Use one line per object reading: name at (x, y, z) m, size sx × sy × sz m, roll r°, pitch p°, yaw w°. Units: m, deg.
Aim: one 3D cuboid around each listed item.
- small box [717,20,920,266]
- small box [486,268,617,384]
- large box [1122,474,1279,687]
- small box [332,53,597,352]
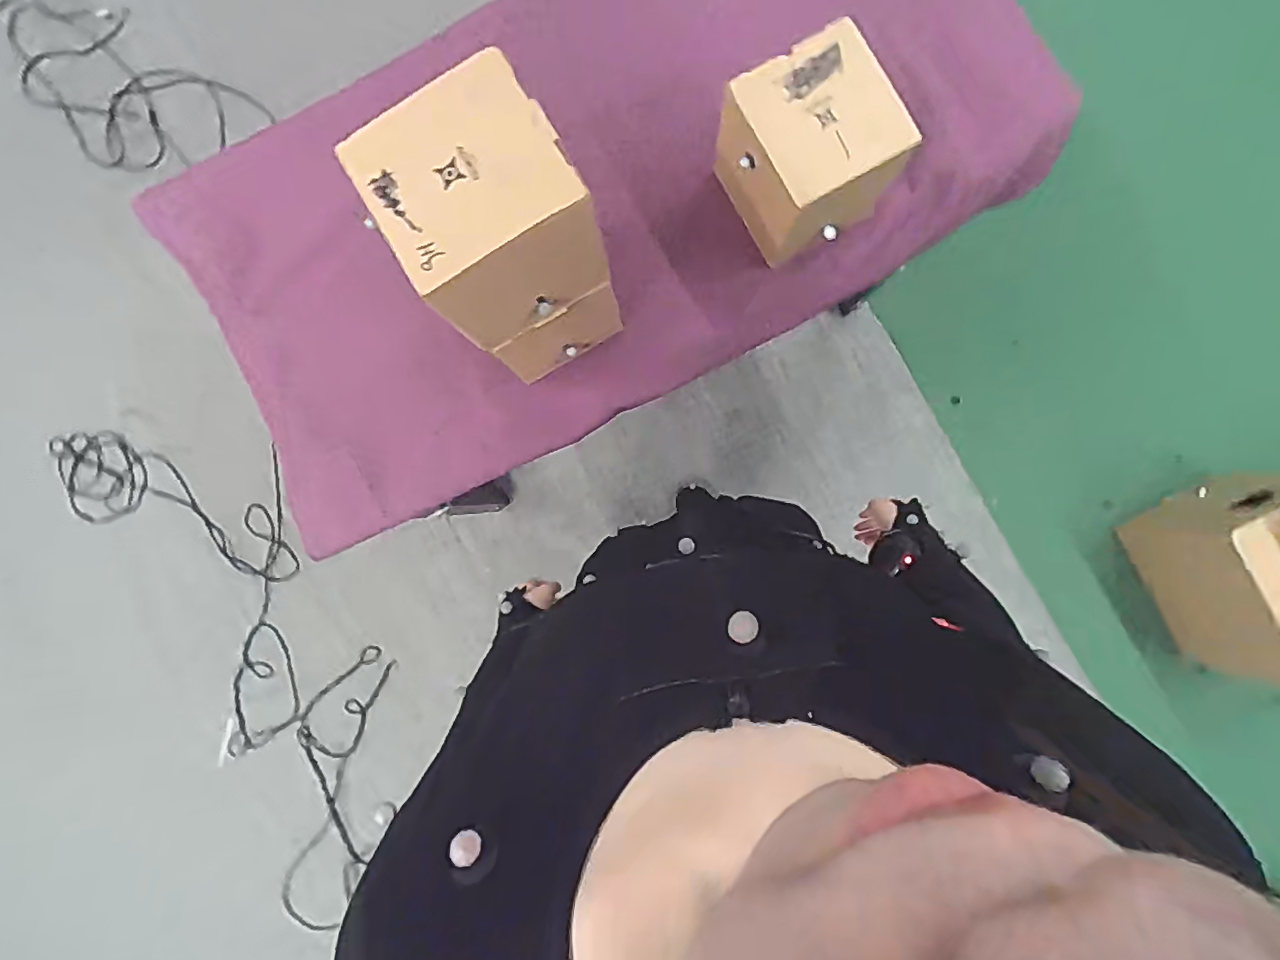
small box at (0.213, -0.419, 0.703) m, size 0.168 × 0.176 × 0.179 m, roll -29°, pitch 86°, yaw 2°
small box at (-0.145, -0.253, 0.713) m, size 0.168 × 0.176 × 0.179 m, roll -31°, pitch 85°, yaw 2°
large box at (1.488, 0.228, 1.269) m, size 0.320 × 0.320 × 0.408 m, roll -28°, pitch 87°, yaw 2°
small box at (-0.156, -0.260, 0.549) m, size 0.179 × 0.176 × 0.168 m, roll -31°, pitch 84°, yaw 1°
